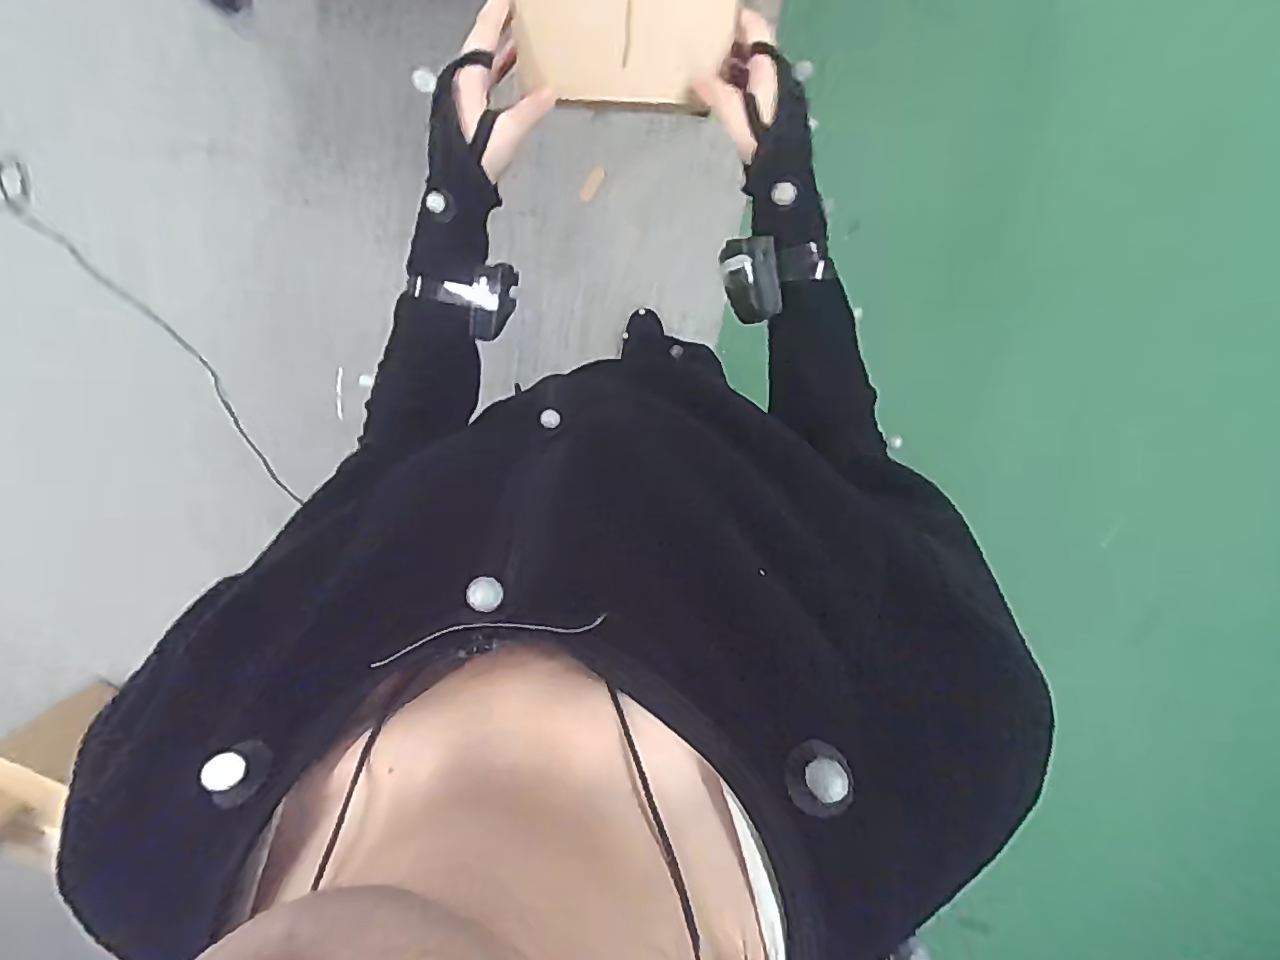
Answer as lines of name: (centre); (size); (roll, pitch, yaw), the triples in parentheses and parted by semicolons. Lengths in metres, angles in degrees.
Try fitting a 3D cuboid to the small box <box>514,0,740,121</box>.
small box: (-0.020, -0.411, 0.449); (0.168, 0.176, 0.179); (-4, 122, -10)
